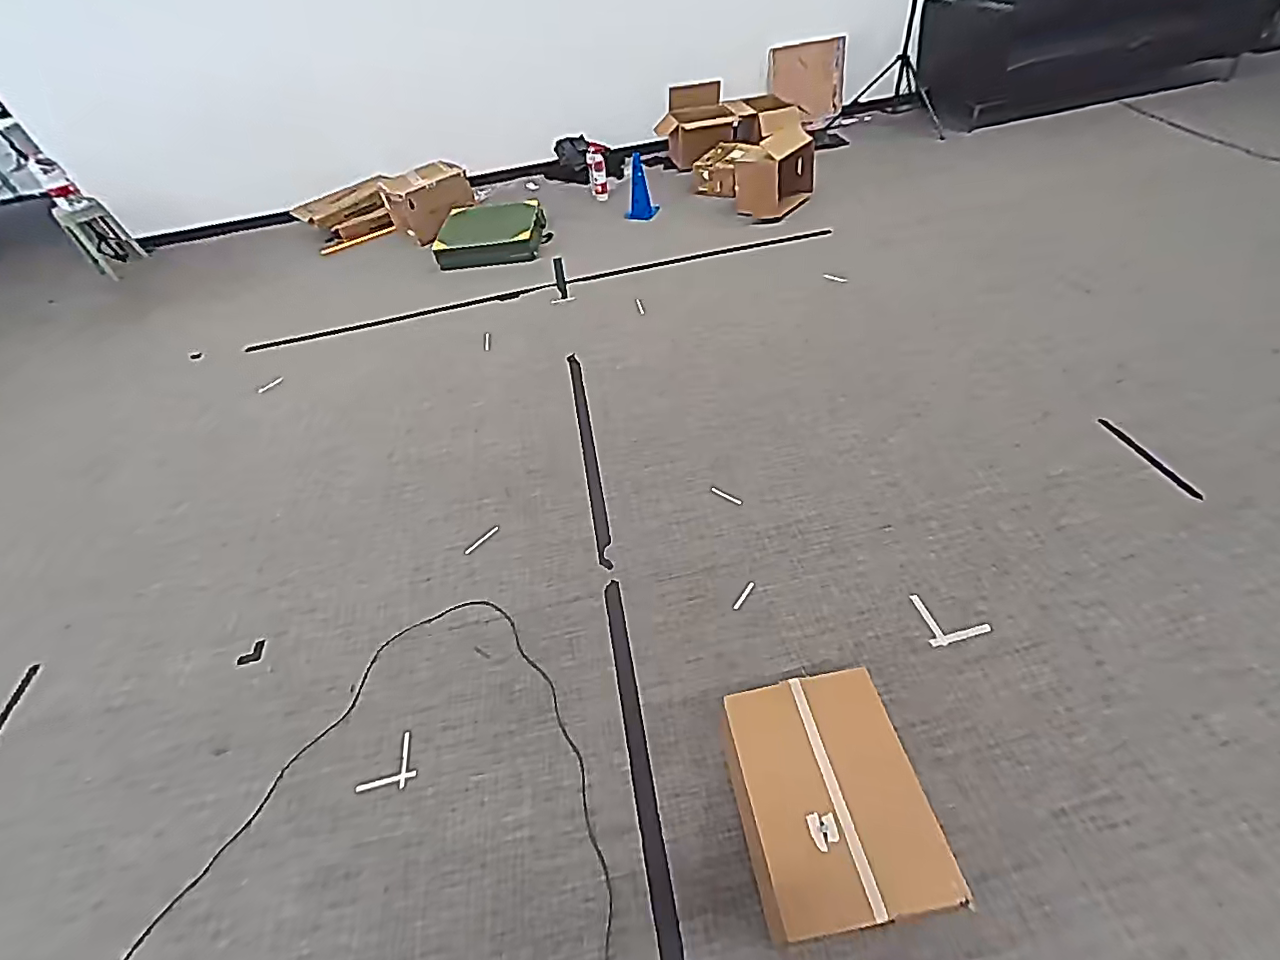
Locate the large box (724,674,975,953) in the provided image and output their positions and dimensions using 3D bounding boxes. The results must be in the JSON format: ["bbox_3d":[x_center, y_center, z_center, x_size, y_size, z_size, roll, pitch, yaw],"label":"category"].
[{"bbox_3d":[0.377,0.679,1.114,0.320,0.320,0.408,-12,48,-1],"label":"large box"}]
